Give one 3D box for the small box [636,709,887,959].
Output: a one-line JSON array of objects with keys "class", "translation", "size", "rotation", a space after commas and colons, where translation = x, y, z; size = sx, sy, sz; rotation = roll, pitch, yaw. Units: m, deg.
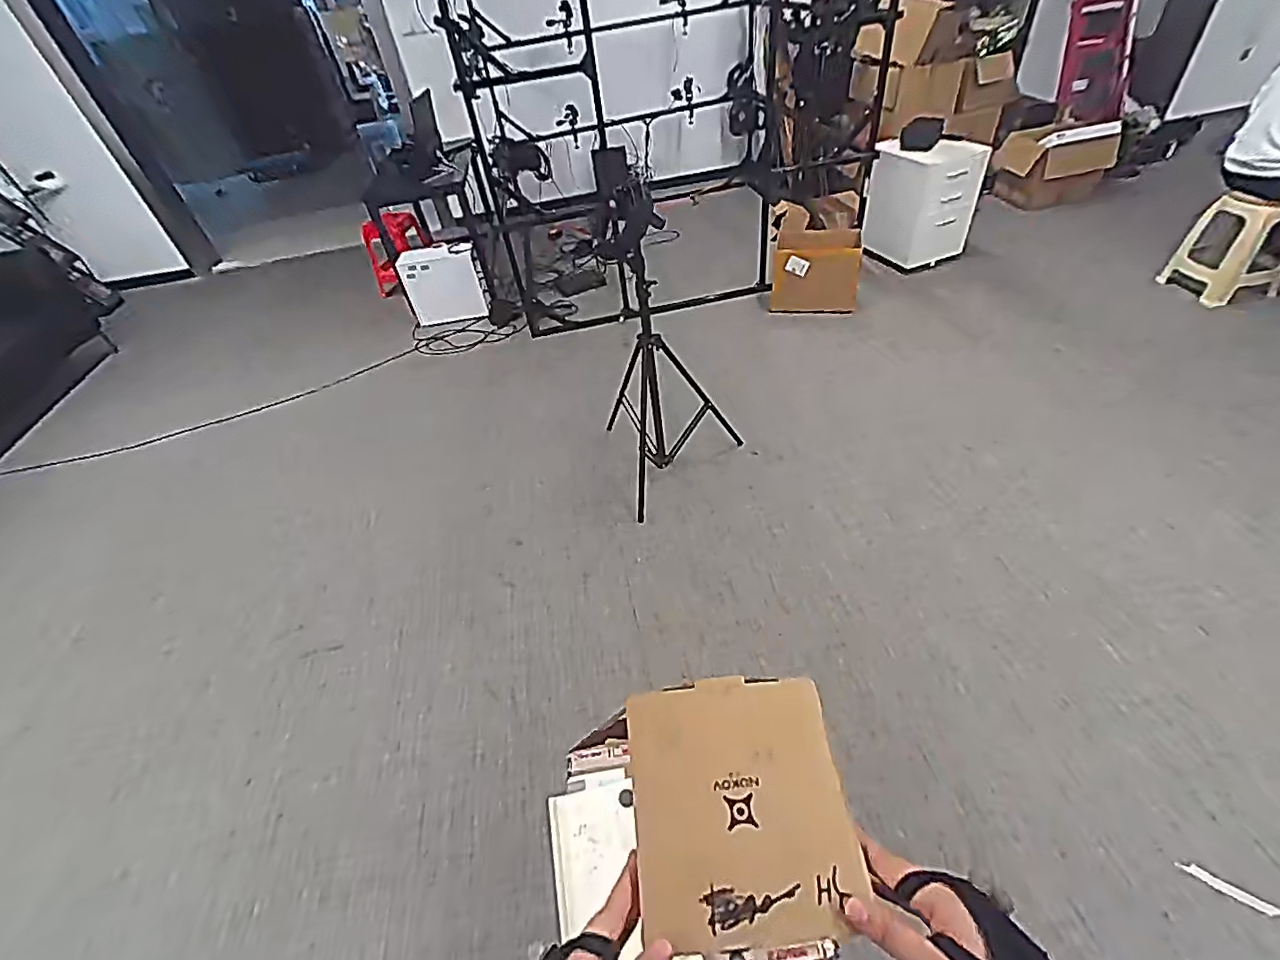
[{"class": "small box", "translation": [0.082, 0.321, 0.478], "size": [0.168, 0.176, 0.179], "rotation": [-5, 53, -2]}]
